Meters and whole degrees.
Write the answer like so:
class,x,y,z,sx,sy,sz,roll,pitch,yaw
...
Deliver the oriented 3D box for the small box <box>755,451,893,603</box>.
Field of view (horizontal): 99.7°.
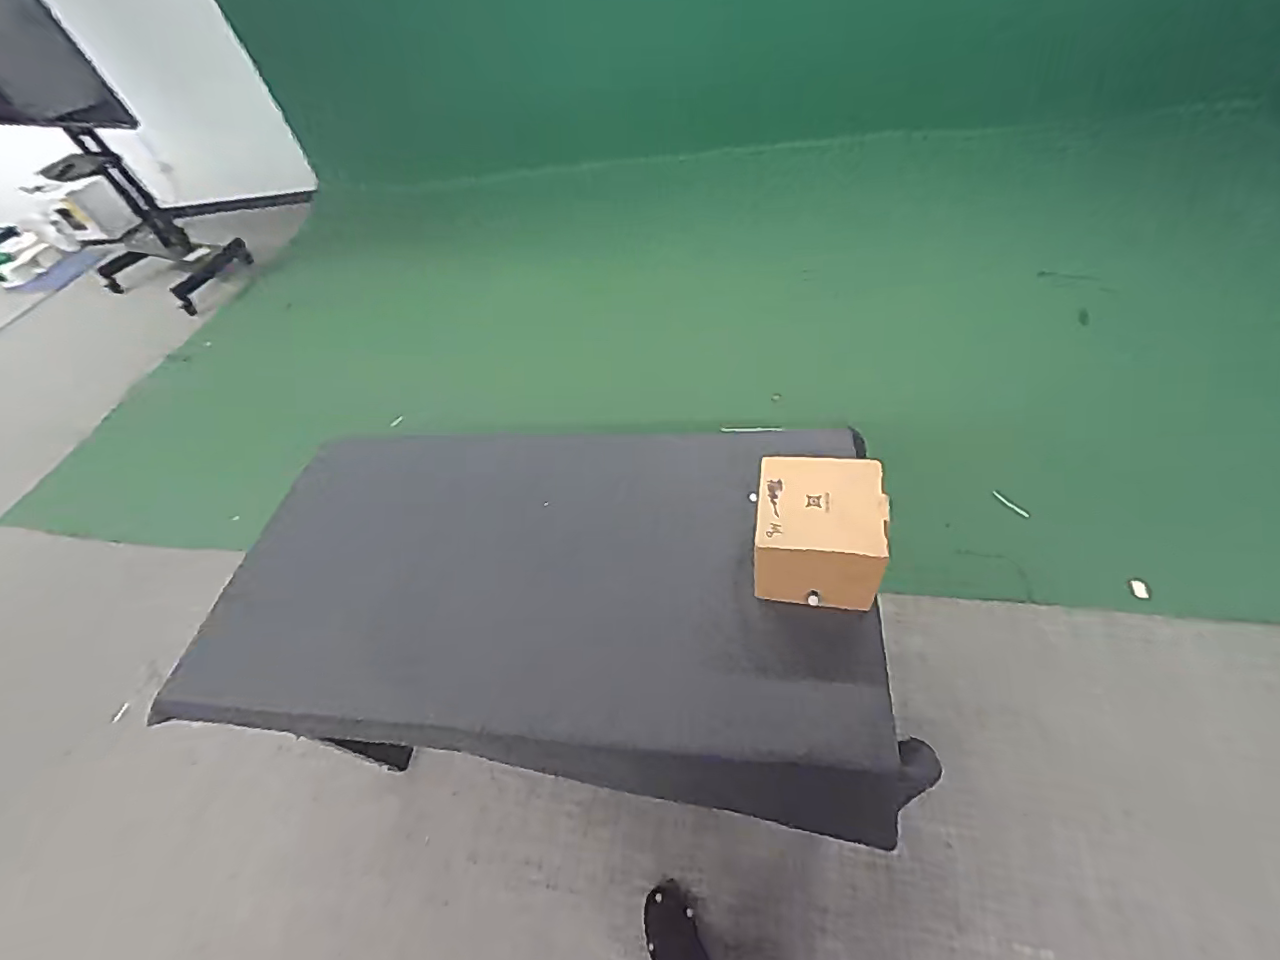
class,x,y,z,sx,sy,sz,roll,pitch,yaw
small box,0.275,0.076,0.834,0.179,0.176,0.168,5,54,14
